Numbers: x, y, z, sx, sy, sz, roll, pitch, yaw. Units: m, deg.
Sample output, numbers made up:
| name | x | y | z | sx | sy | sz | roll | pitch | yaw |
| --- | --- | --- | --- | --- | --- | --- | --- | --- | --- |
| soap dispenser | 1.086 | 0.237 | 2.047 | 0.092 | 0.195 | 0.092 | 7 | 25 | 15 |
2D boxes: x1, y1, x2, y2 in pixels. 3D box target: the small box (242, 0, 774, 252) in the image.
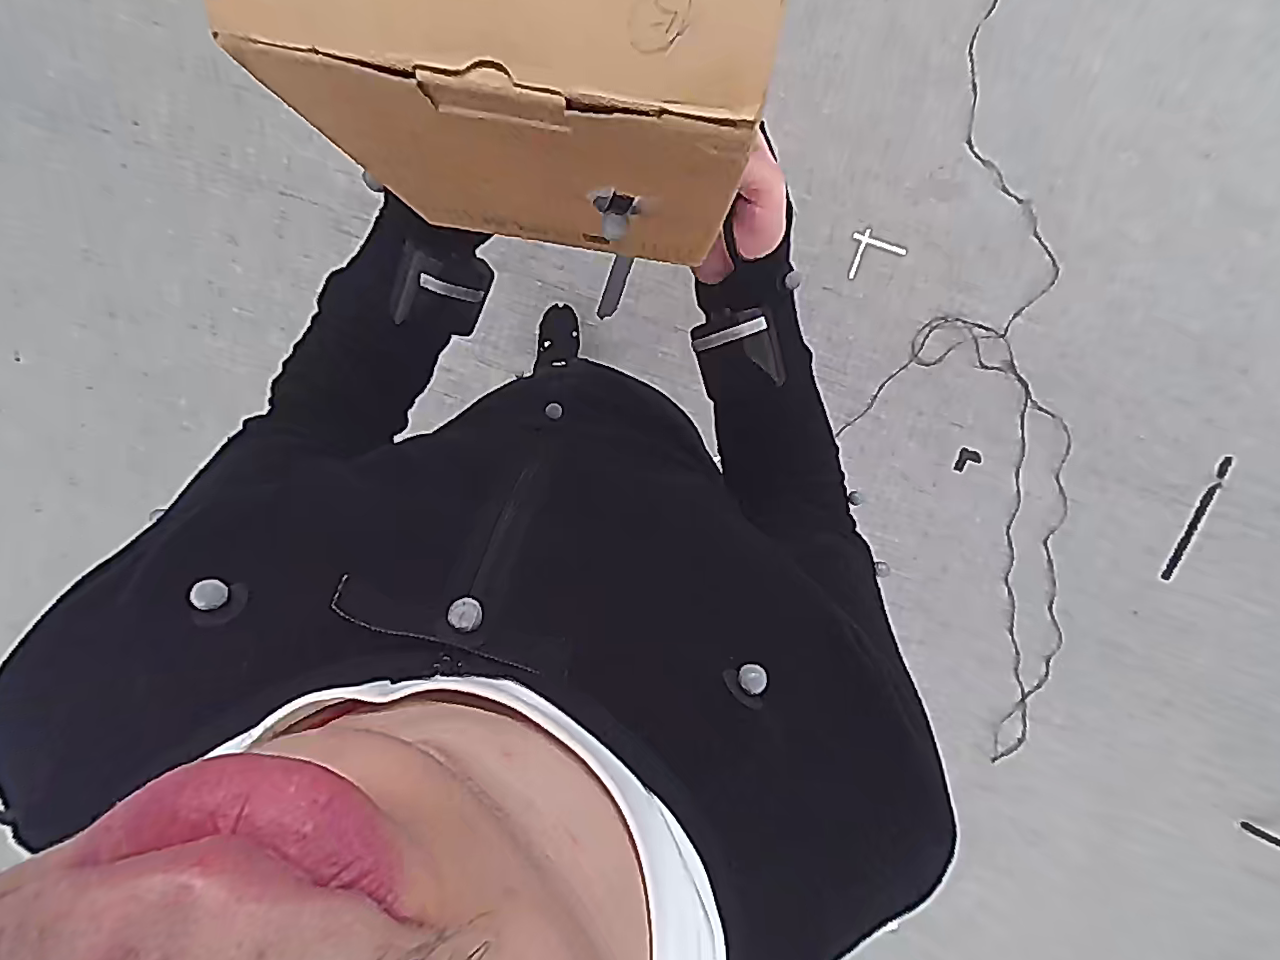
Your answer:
| name | x | y | z | sx | sy | sz | roll | pitch | yaw |
| --- | --- | --- | --- | --- | --- | --- | --- | --- | --- |
| small box | -0.031 | -0.218 | 0.237 | 0.168 | 0.176 | 0.179 | 9 | 98 | -2 |
